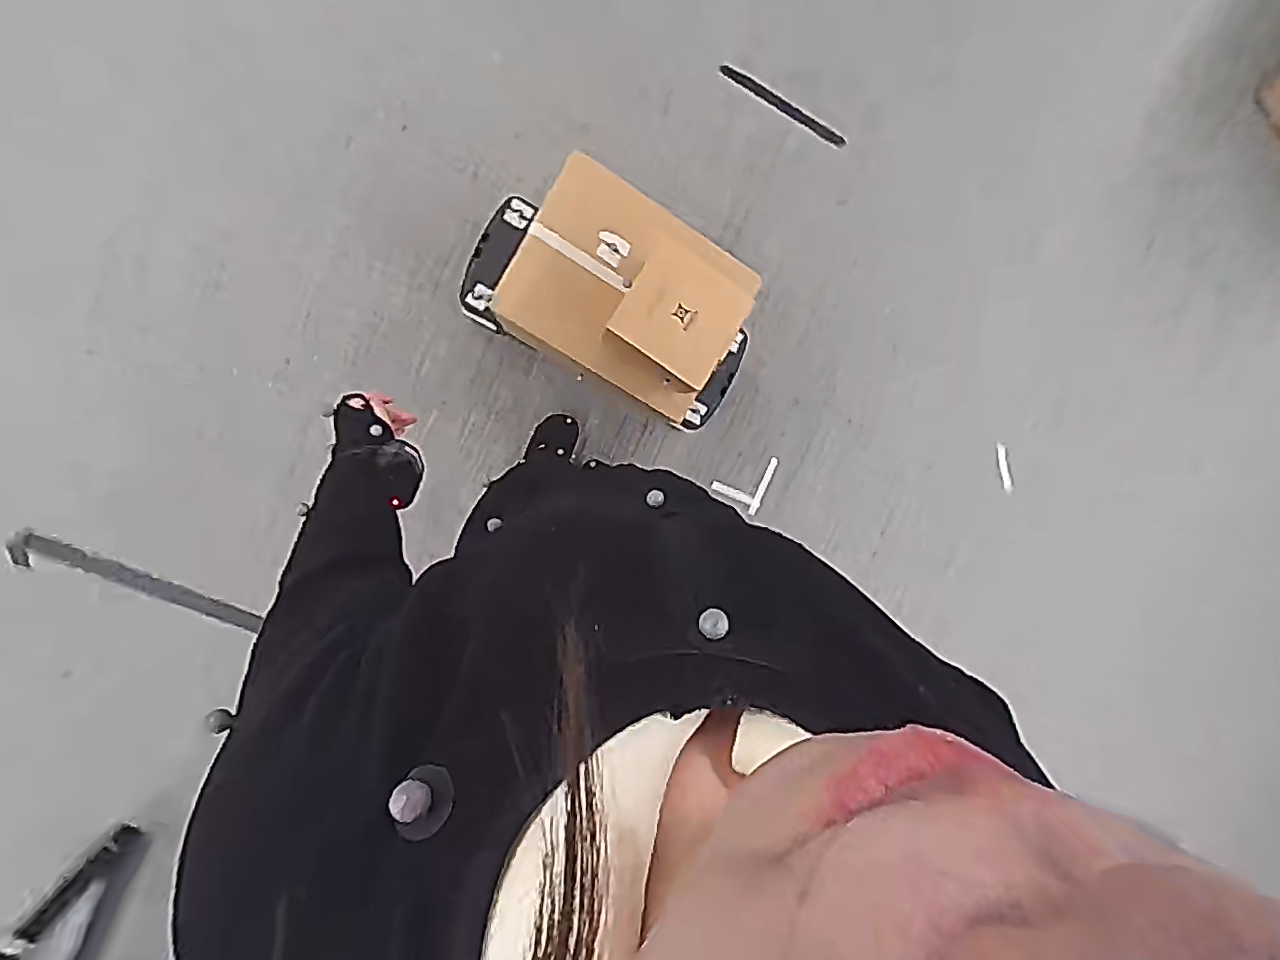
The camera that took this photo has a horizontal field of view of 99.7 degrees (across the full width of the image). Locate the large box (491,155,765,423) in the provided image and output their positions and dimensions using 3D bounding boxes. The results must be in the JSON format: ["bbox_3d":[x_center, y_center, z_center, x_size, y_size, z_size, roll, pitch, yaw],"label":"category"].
[{"bbox_3d":[-0.031,-0.346,1.103,0.408,0.320,0.320,30,91,-10],"label":"large box"}]

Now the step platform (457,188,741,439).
[{"bbox_3d":[-0.092,-0.385,1.332,0.684,0.204,0.286,32,91,-11],"label":"step platform"}]

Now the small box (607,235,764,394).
[{"bbox_3d":[0.063,-0.256,0.879,0.179,0.176,0.168,34,92,-11],"label":"small box"}]
